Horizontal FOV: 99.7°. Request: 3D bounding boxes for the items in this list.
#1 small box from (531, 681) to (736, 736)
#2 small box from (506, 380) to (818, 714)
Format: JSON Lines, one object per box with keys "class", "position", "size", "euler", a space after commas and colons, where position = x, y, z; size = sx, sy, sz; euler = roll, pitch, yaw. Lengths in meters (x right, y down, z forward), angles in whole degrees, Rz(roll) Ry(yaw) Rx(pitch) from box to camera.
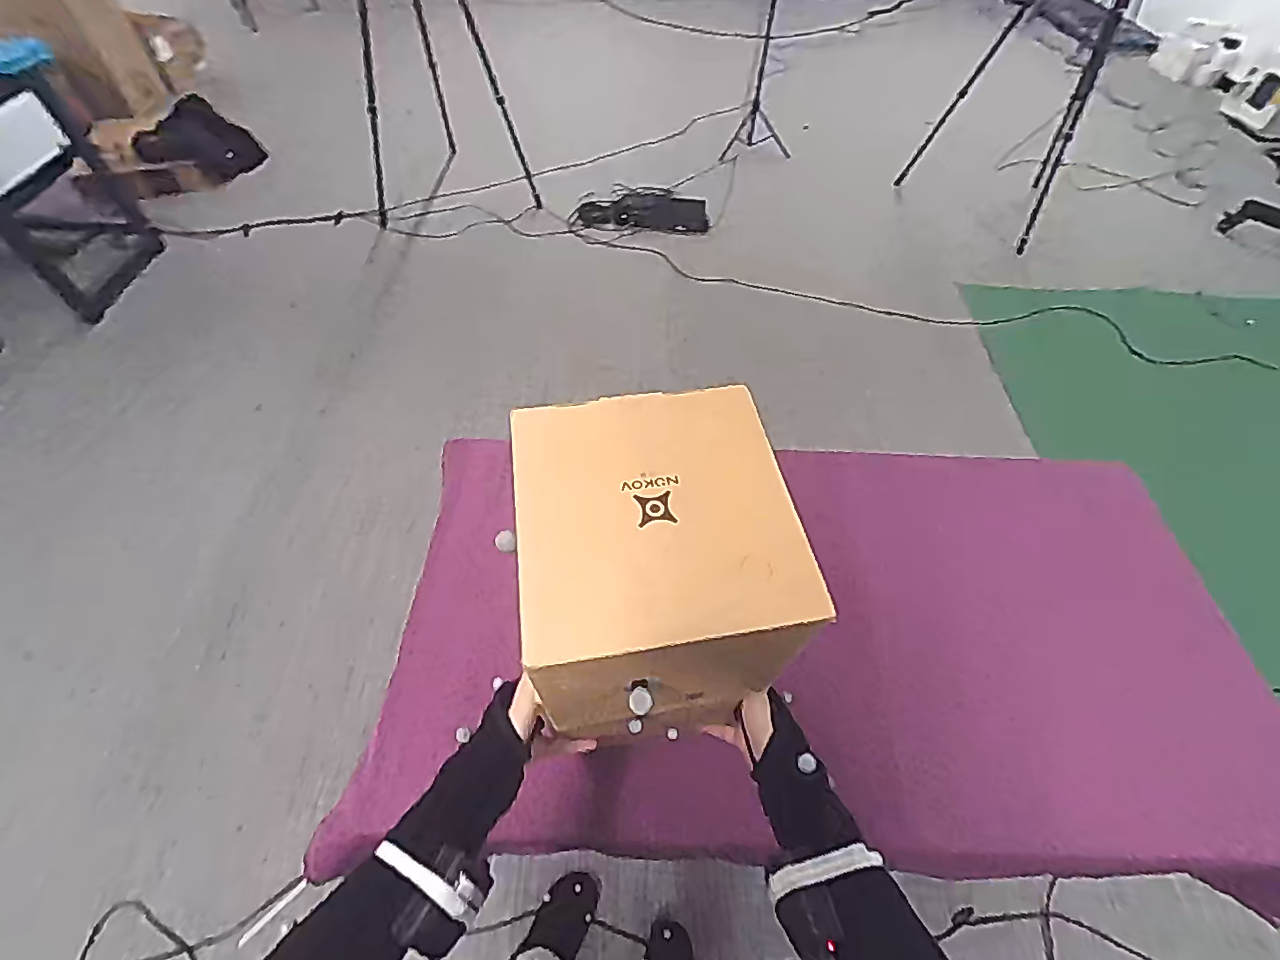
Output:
{"class": "small box", "position": [-0.006, 0.141, 0.528], "size": [0.179, 0.176, 0.168], "euler": [-6, 55, -3]}
{"class": "small box", "position": [0.002, 0.056, 0.388], "size": [0.168, 0.176, 0.179], "euler": [-7, 54, -7]}
